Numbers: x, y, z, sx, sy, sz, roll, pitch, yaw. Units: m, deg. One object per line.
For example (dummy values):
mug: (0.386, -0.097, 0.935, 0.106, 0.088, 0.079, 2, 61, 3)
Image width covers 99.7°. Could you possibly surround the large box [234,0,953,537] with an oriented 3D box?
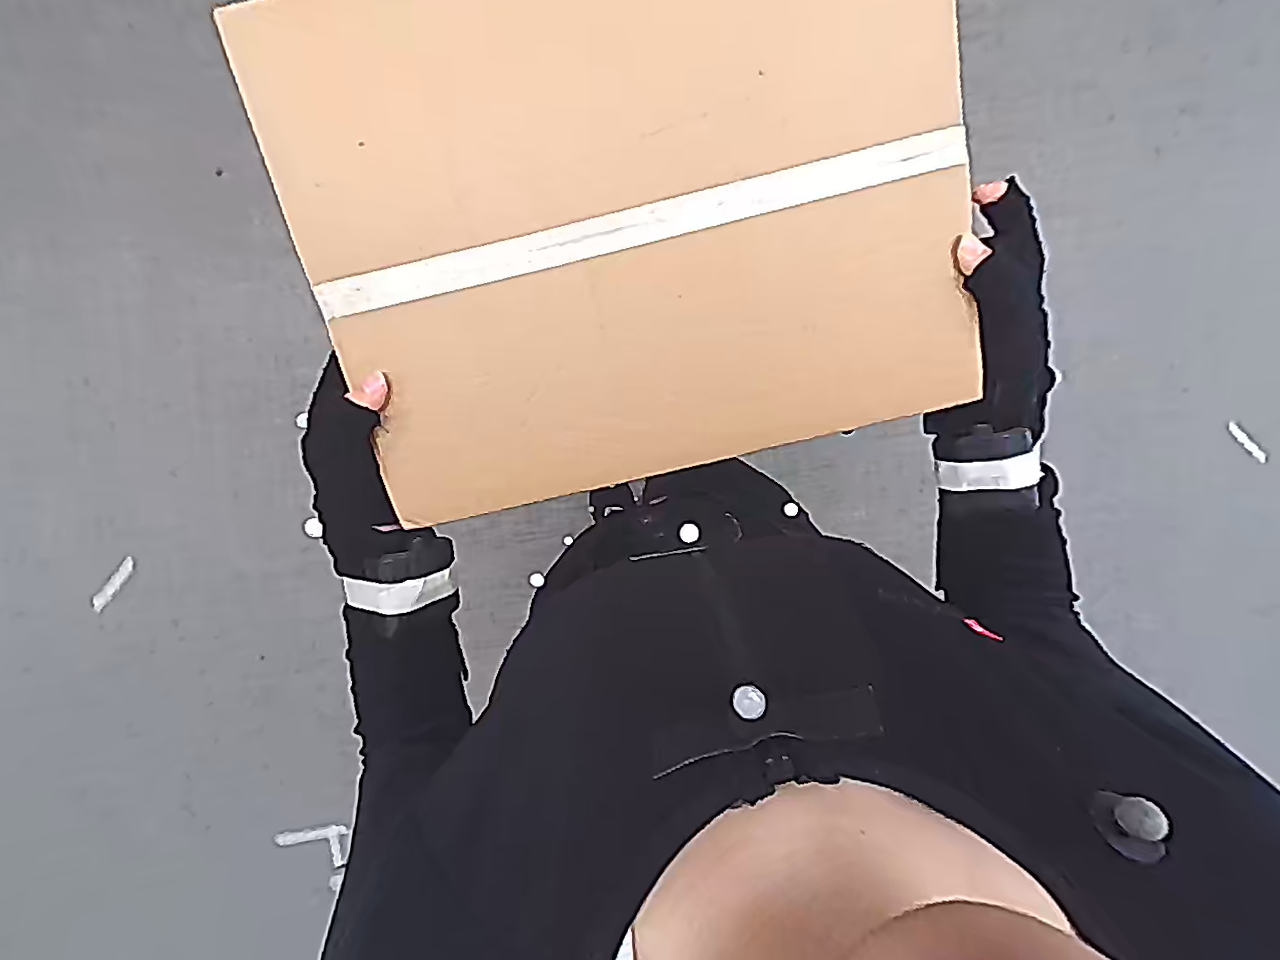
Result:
large box: (-0.013, -0.189, 0.487, 0.408, 0.320, 0.320, -14, 104, 2)
